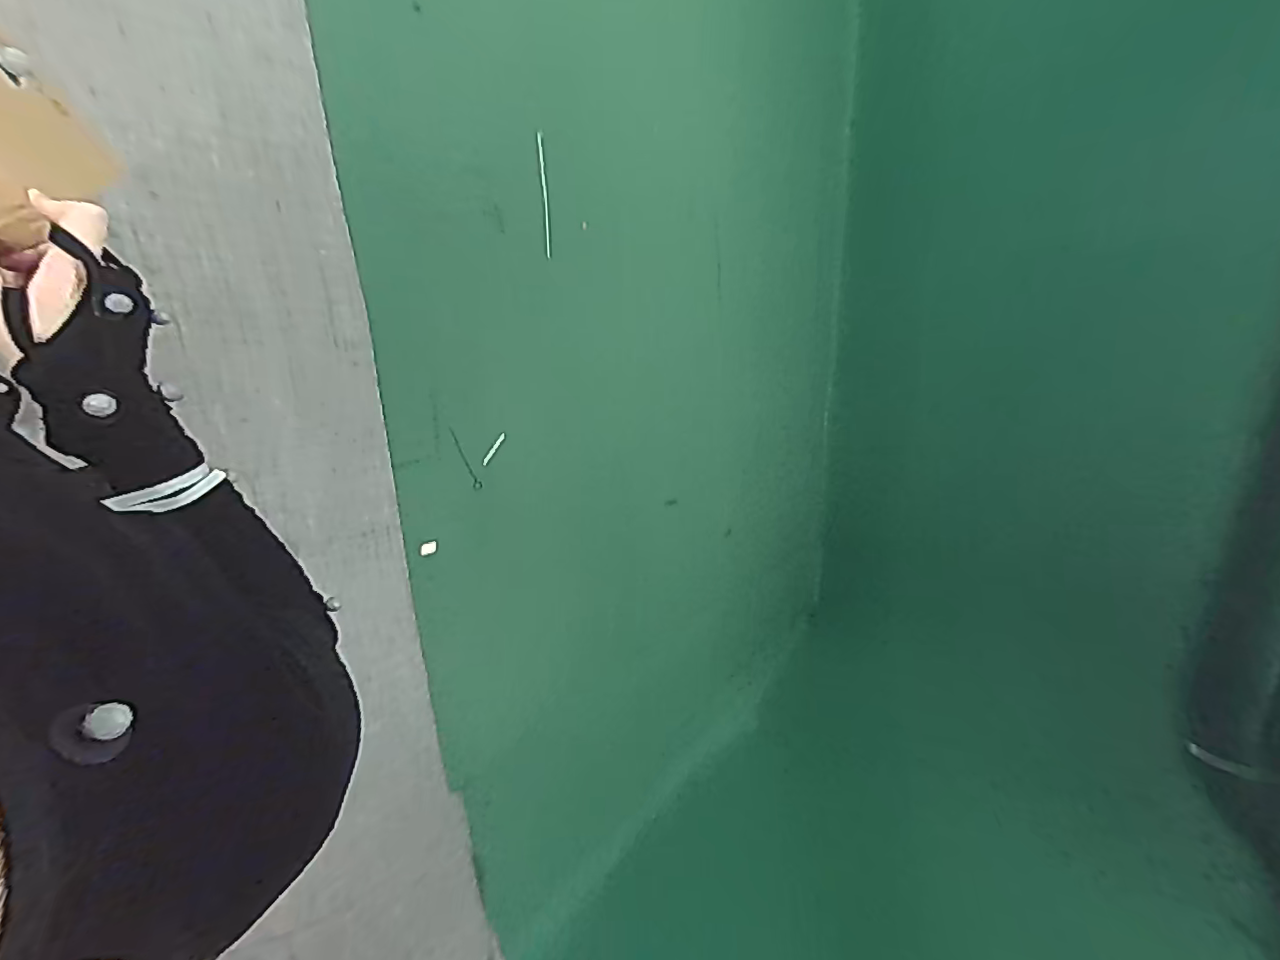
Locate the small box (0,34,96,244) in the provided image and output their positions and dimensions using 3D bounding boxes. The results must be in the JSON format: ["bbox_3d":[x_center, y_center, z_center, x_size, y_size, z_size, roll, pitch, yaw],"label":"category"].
[{"bbox_3d":[-0.500,-0.225,0.328,0.179,0.176,0.168,-29,139,-5],"label":"small box"}]
